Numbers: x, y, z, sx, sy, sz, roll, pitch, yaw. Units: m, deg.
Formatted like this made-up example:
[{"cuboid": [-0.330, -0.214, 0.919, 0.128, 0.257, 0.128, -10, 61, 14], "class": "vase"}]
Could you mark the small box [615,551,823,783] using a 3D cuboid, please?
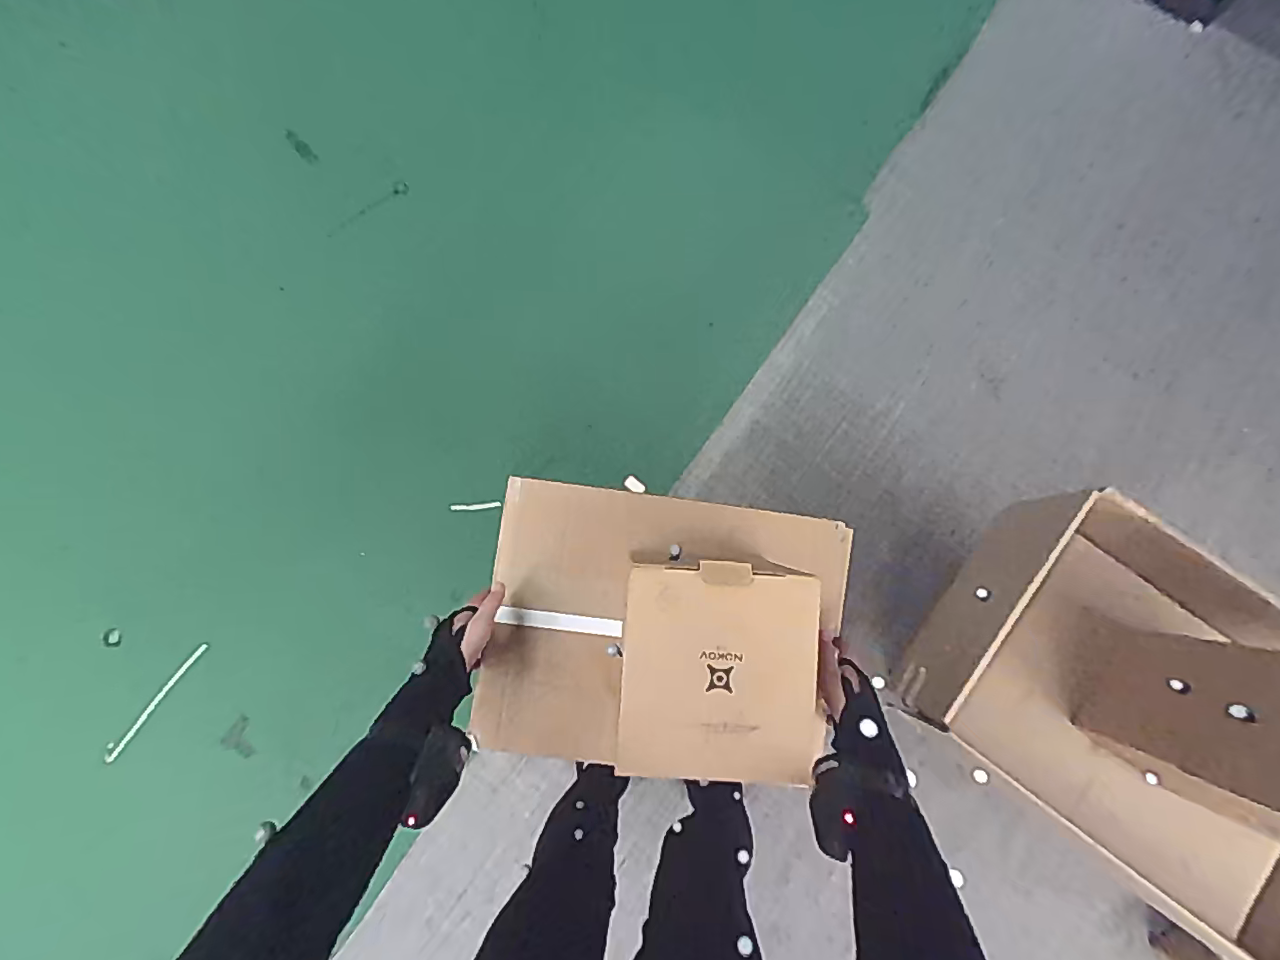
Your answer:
[{"cuboid": [0.064, 0.163, 0.527, 0.168, 0.176, 0.179, 4, 85, -2], "class": "small box"}]

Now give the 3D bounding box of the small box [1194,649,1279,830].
[{"cuboid": [0.743, 0.301, 0.552, 0.168, 0.176, 0.179, 33, 84, 5], "class": "small box"}]

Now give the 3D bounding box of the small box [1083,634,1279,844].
[{"cuboid": [0.750, 0.326, 0.713, 0.168, 0.176, 0.179, 35, 84, 6], "class": "small box"}]
